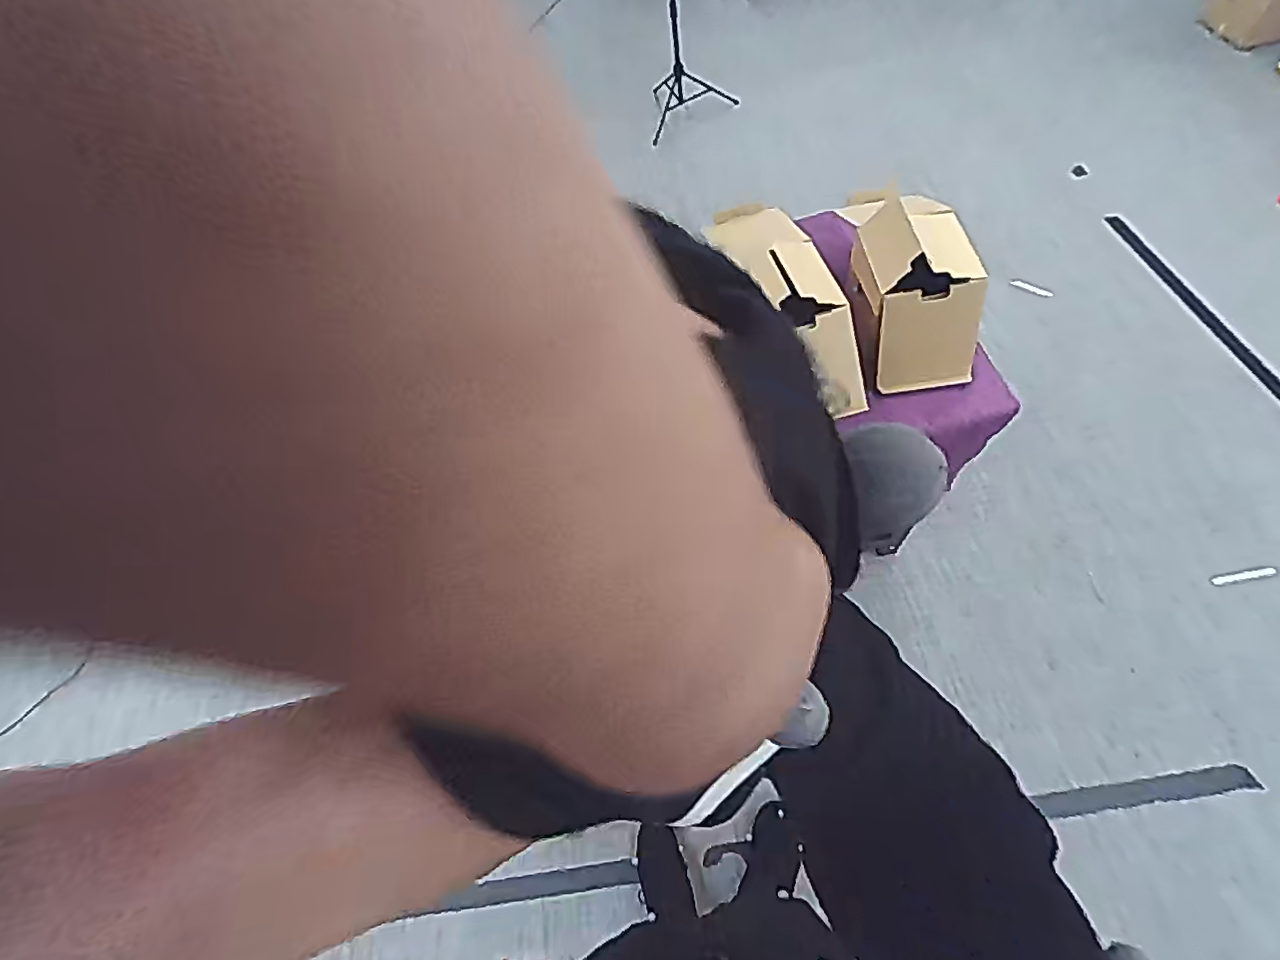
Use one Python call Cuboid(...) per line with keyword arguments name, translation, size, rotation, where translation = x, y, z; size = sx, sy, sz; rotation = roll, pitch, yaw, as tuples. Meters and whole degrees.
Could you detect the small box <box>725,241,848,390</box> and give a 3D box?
Cuboid(name="small box", translation=(0.258, -0.297, 0.994), size=(0.168, 0.176, 0.179), rotation=(-15, 60, 3))
